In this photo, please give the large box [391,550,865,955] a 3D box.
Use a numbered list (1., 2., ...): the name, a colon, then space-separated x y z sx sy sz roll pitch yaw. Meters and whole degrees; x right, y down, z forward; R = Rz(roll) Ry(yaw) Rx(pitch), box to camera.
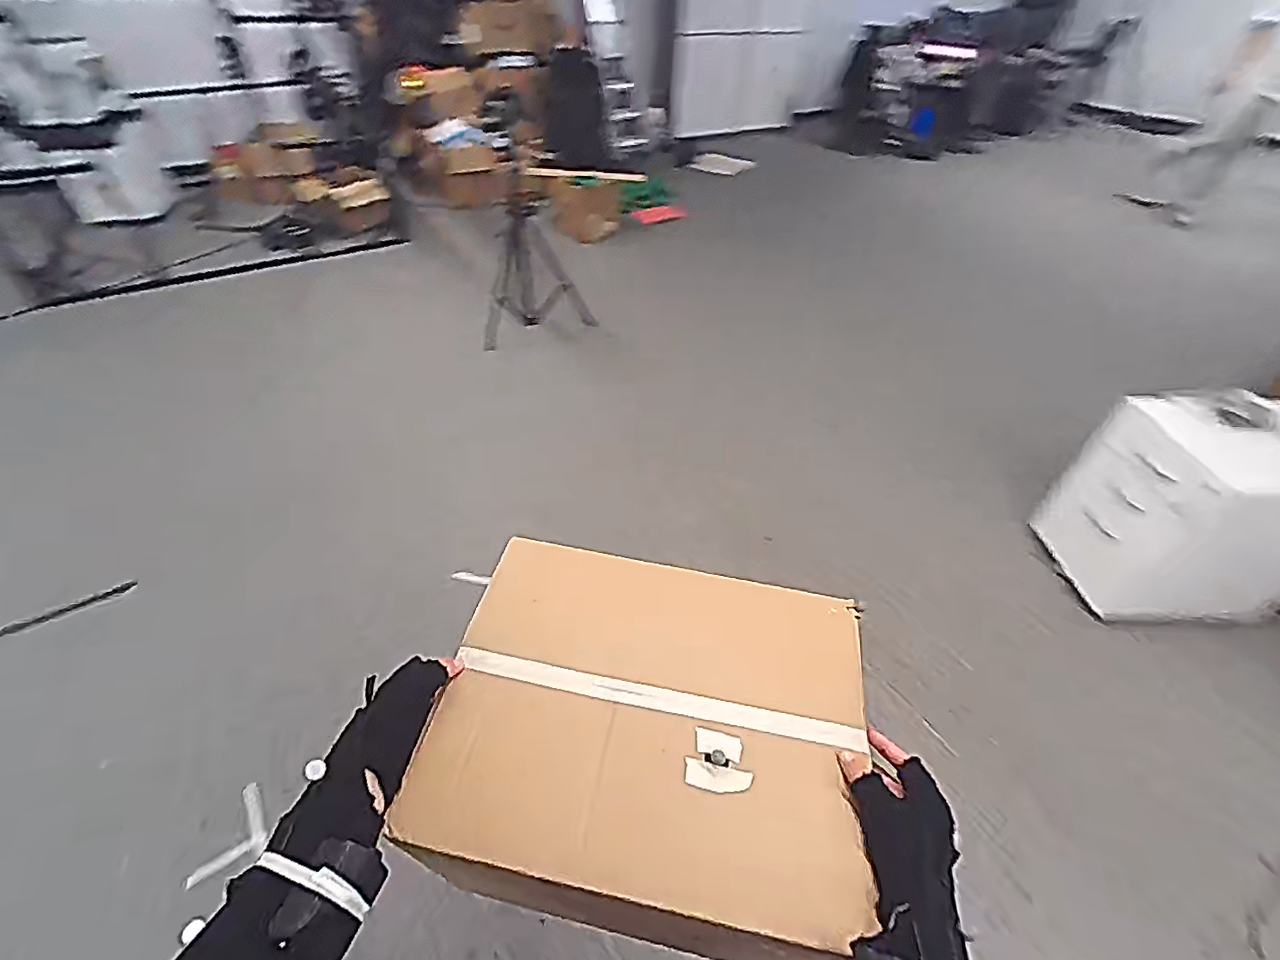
1. large box: -0.002 0.323 0.648 0.408 0.320 0.320 9 48 5
